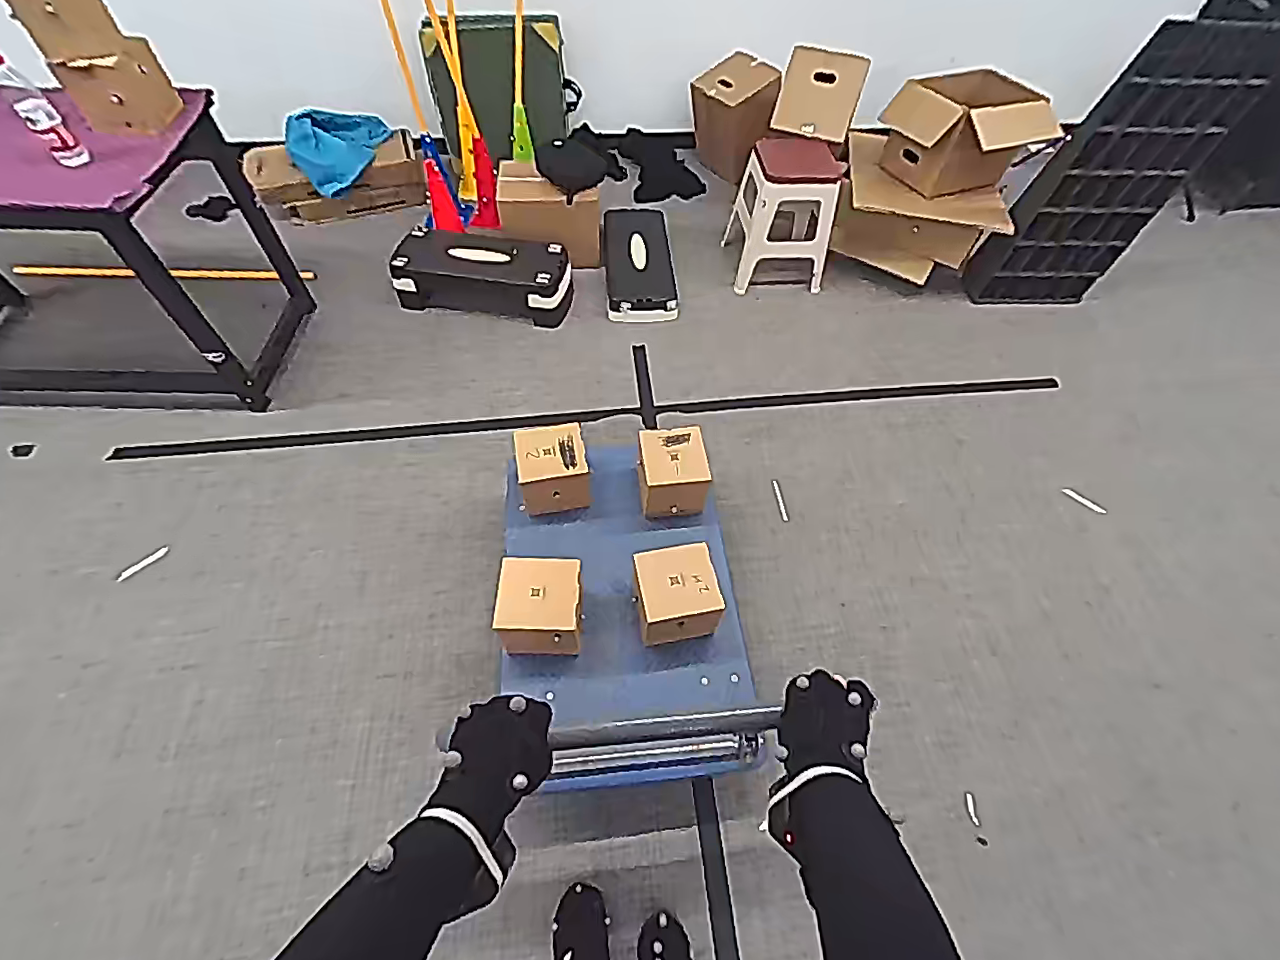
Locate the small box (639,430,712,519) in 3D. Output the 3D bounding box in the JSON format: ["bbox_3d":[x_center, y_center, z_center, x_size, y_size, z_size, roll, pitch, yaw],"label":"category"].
[{"bbox_3d":[0.088,-0.014,1.462,0.168,0.176,0.179,-5,58,-5],"label":"small box"}]

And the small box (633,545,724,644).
[{"bbox_3d":[0.082,0.273,1.269,0.179,0.176,0.168,-8,57,-8],"label":"small box"}]

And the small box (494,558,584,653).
[{"bbox_3d":[-0.223,0.291,1.242,0.179,0.176,0.168,2,56,-3],"label":"small box"}]
